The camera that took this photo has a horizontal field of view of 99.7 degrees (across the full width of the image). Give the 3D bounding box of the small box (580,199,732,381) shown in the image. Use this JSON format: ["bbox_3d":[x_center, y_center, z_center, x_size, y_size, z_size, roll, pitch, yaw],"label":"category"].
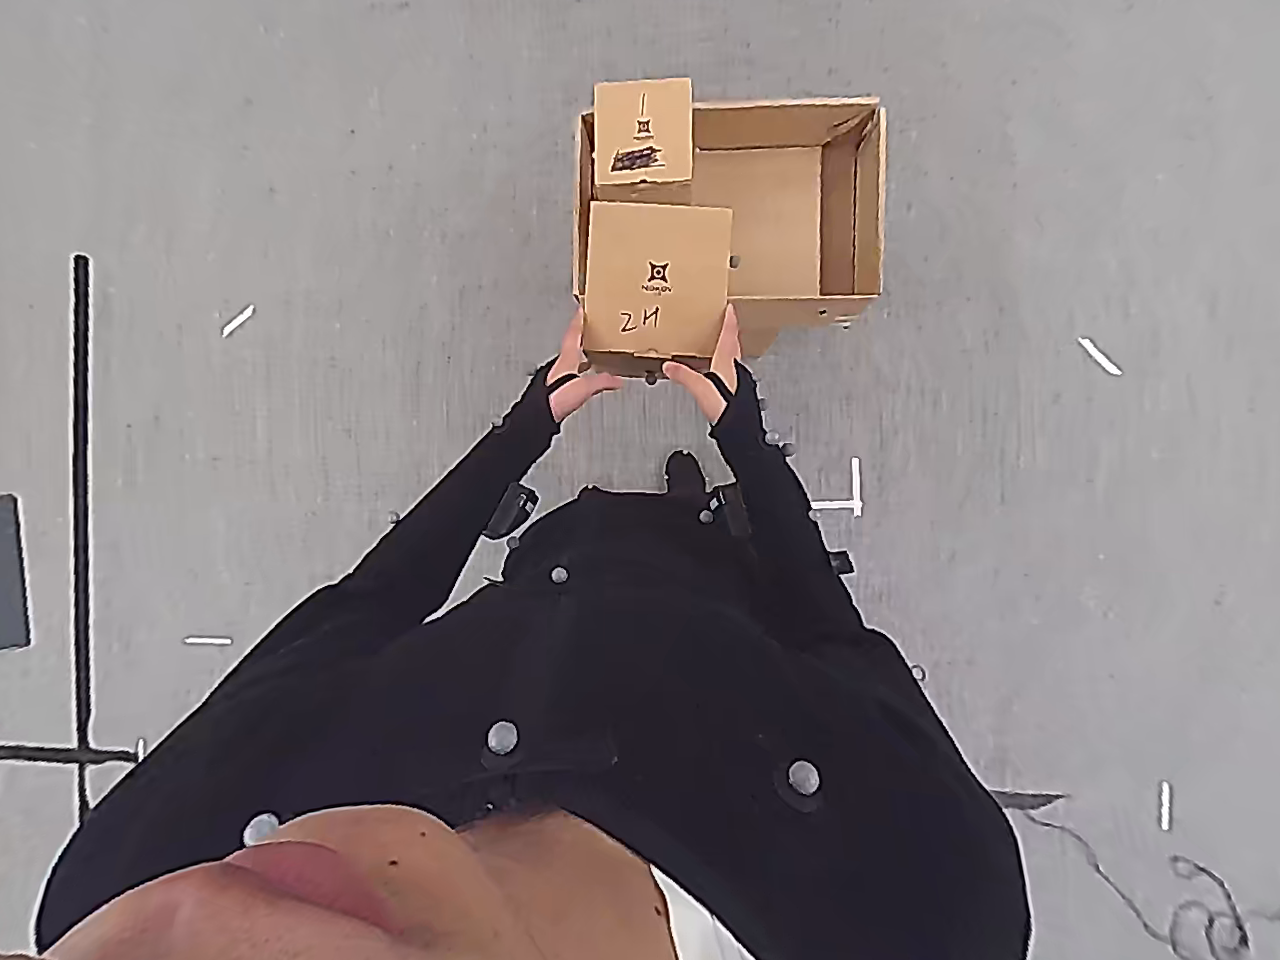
[{"bbox_3d":[0.019,-0.233,0.700,0.168,0.176,0.179,4,92,1],"label":"small box"}]

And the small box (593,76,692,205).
[{"bbox_3d":[0.010,-0.580,0.976,0.168,0.176,0.179,0,90,4],"label":"small box"}]
